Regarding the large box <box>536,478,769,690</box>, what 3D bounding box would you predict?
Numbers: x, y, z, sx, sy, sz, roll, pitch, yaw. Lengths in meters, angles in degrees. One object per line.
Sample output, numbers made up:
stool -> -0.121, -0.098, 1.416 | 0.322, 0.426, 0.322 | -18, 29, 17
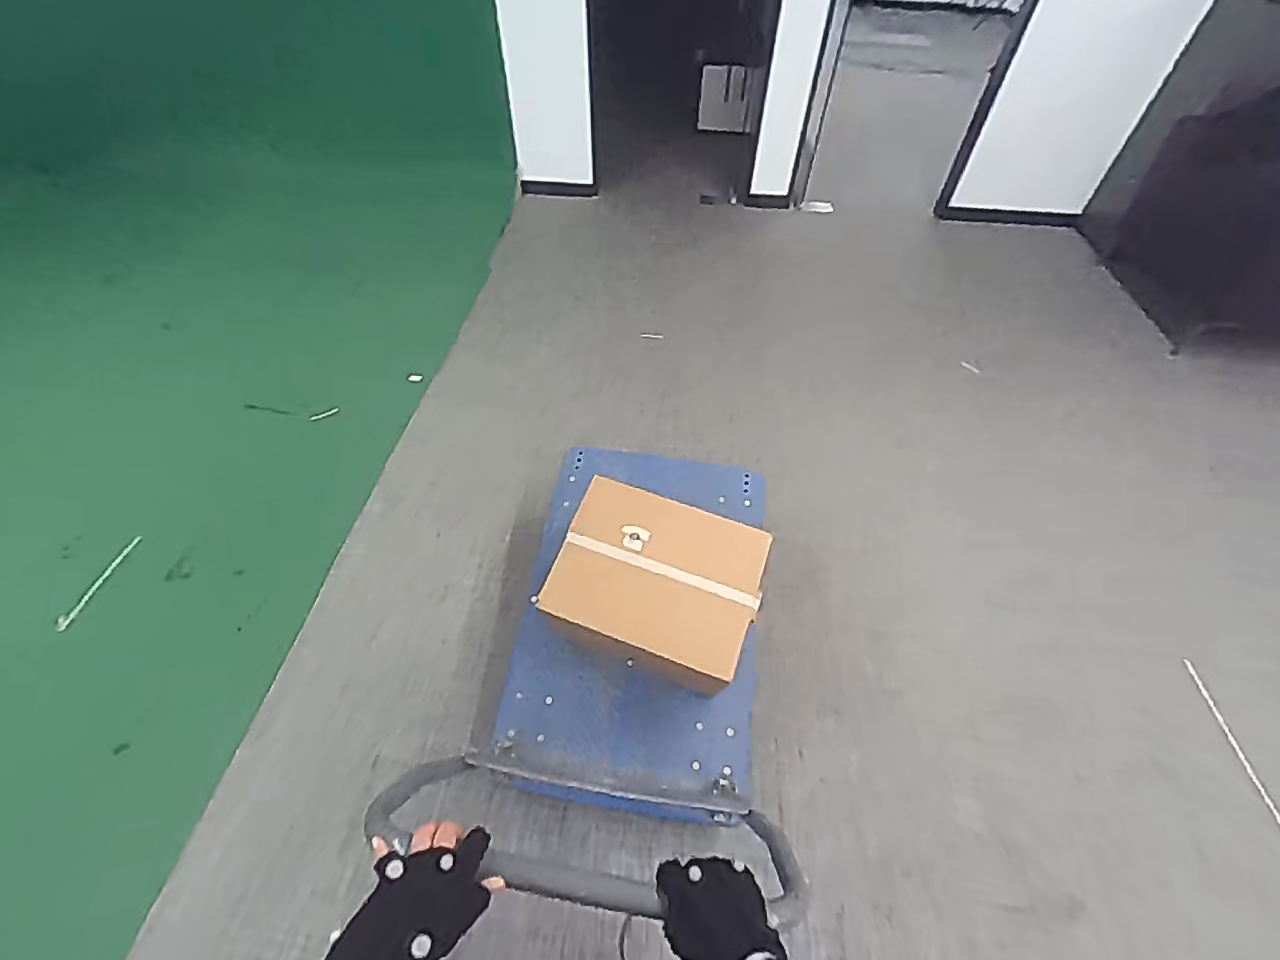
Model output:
large box -> 0.036, 0.247, 1.223 | 0.408, 0.320, 0.320 | 19, 65, 11
